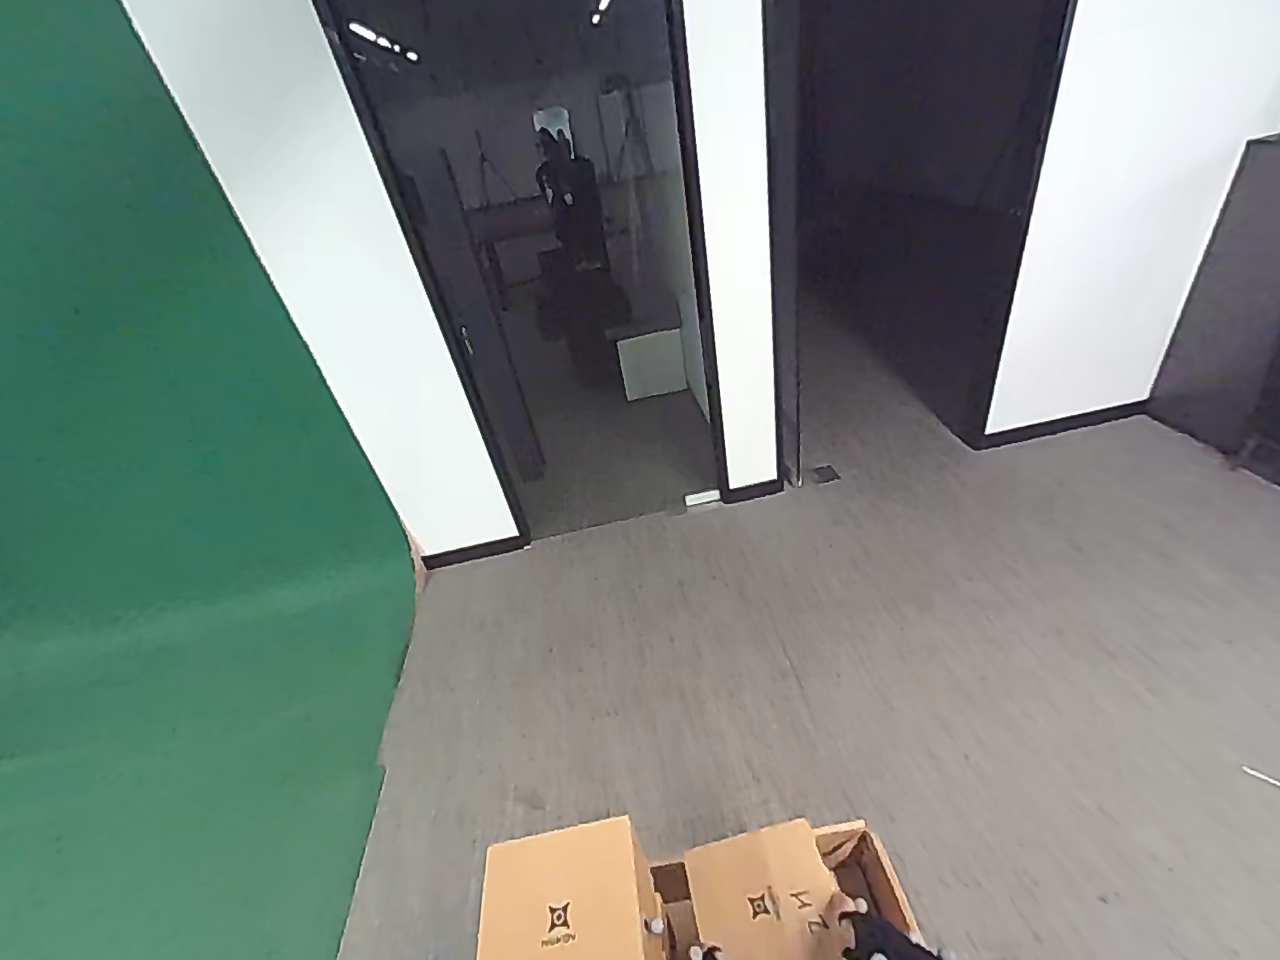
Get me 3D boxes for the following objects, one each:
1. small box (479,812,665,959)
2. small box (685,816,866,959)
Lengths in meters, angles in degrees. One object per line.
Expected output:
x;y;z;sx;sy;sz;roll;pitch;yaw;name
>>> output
-0.066;0.503;0.585;0.168;0.176;0.179;-12;34;-1;small box
0.168;0.573;0.687;0.179;0.176;0.168;-14;30;-1;small box
